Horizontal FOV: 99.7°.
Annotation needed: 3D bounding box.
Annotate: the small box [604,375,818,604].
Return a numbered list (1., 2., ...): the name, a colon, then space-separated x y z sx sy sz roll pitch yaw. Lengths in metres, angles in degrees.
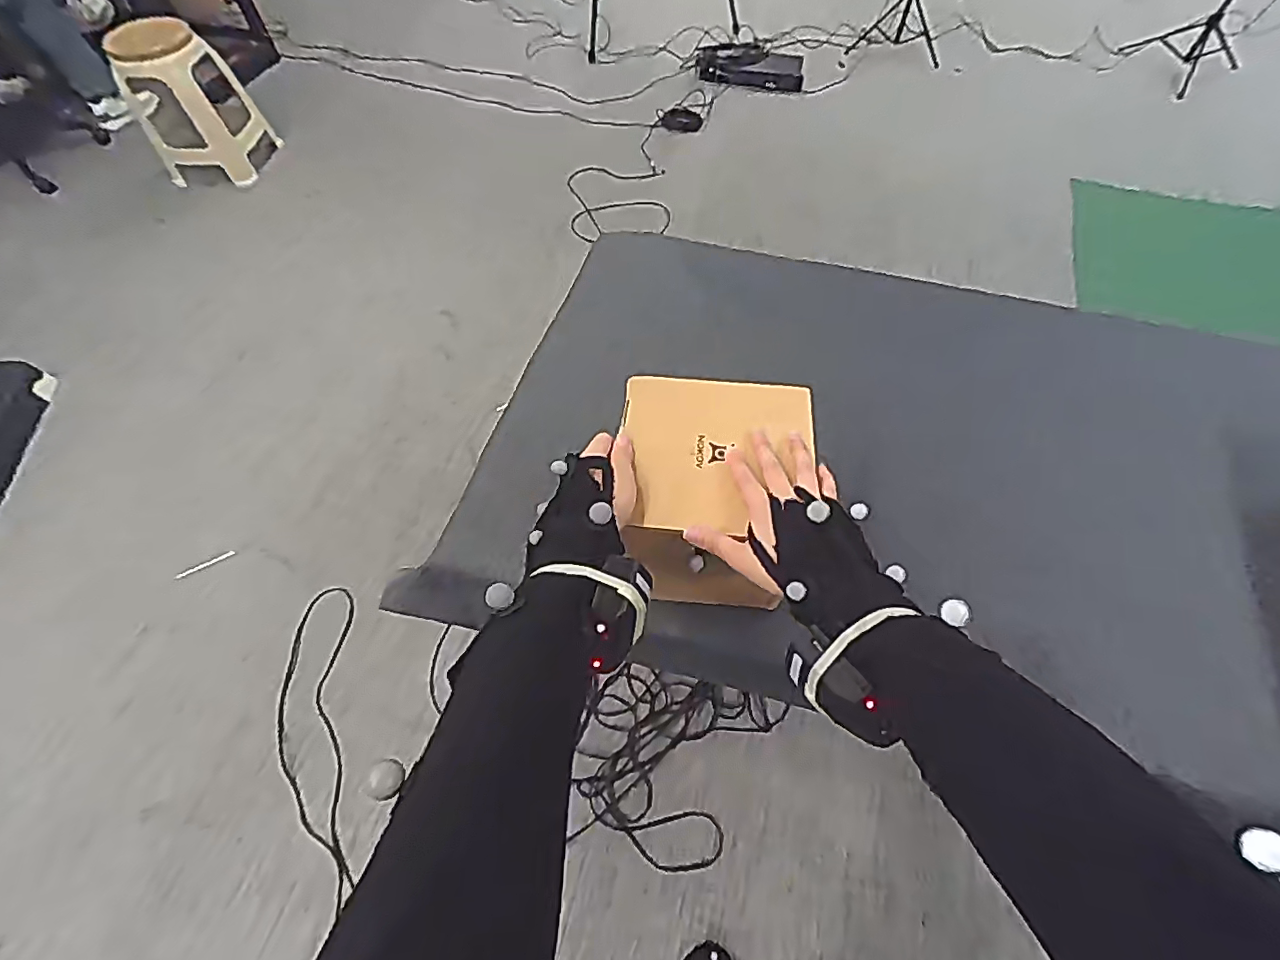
1. small box: 0.066 0.017 0.544 0.179 0.176 0.168 5 59 4
